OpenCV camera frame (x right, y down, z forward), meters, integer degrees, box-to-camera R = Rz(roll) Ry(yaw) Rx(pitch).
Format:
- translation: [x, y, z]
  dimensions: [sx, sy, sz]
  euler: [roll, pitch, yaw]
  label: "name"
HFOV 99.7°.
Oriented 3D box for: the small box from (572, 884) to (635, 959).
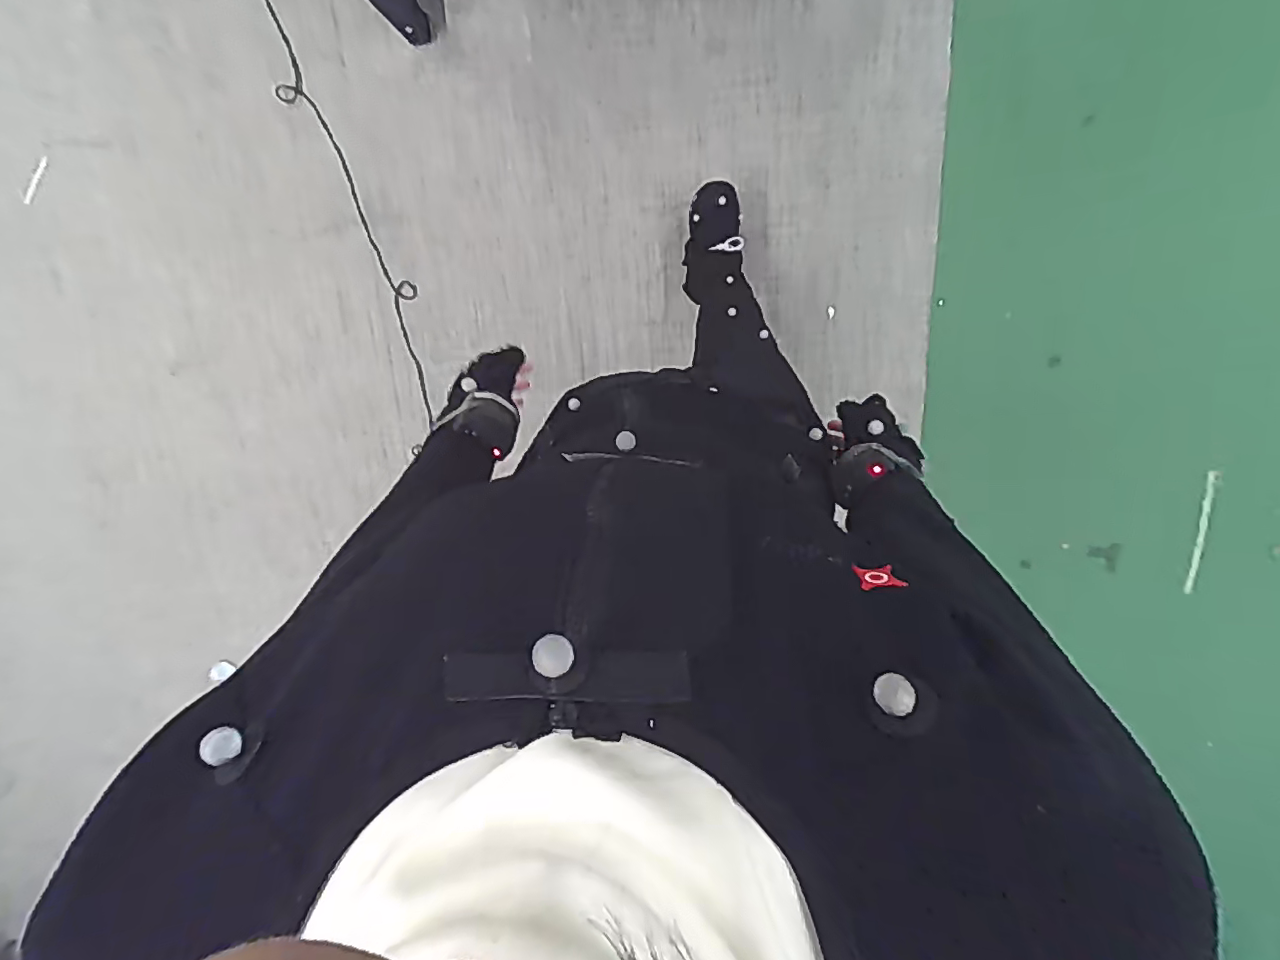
- translation: [-0.114, 1.440, 1.734]
  dimensions: [0.179, 0.176, 0.168]
  euler: [1, 105, 6]
  label: "small box"
